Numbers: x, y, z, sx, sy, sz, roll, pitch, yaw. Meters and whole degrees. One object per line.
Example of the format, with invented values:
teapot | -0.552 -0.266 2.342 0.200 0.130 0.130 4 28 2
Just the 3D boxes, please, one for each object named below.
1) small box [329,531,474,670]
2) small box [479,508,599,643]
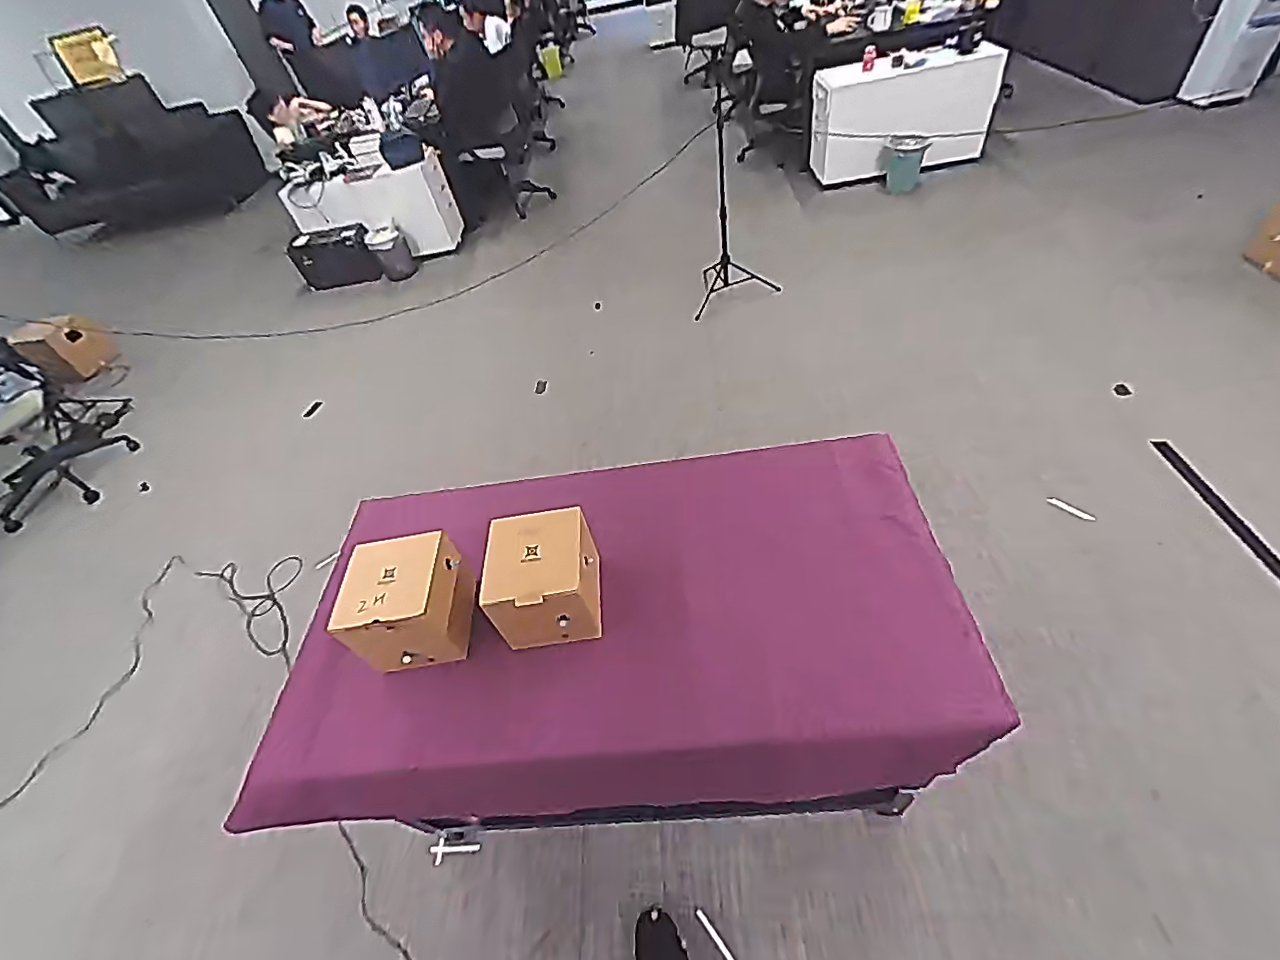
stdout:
small box | -0.417 0.220 0.982 0.168 0.176 0.179 -10 47 4
small box | -0.170 0.177 0.970 0.168 0.176 0.179 -8 47 4
